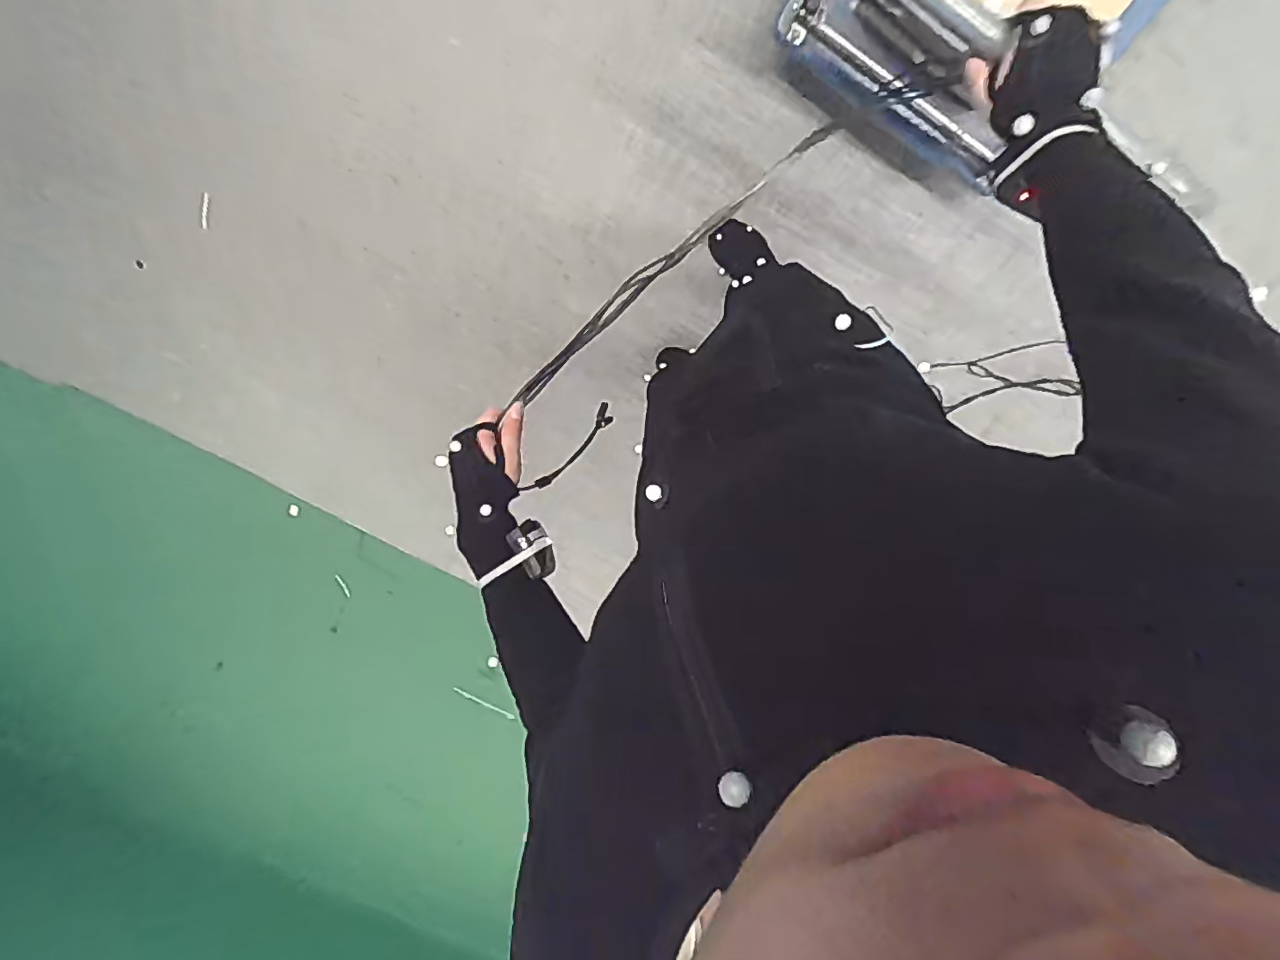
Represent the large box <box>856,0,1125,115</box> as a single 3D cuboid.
[{"bbox_3d":[0.610,-0.871,0.830,0.320,0.320,0.408,32,118,-8],"label":"large box"}]
